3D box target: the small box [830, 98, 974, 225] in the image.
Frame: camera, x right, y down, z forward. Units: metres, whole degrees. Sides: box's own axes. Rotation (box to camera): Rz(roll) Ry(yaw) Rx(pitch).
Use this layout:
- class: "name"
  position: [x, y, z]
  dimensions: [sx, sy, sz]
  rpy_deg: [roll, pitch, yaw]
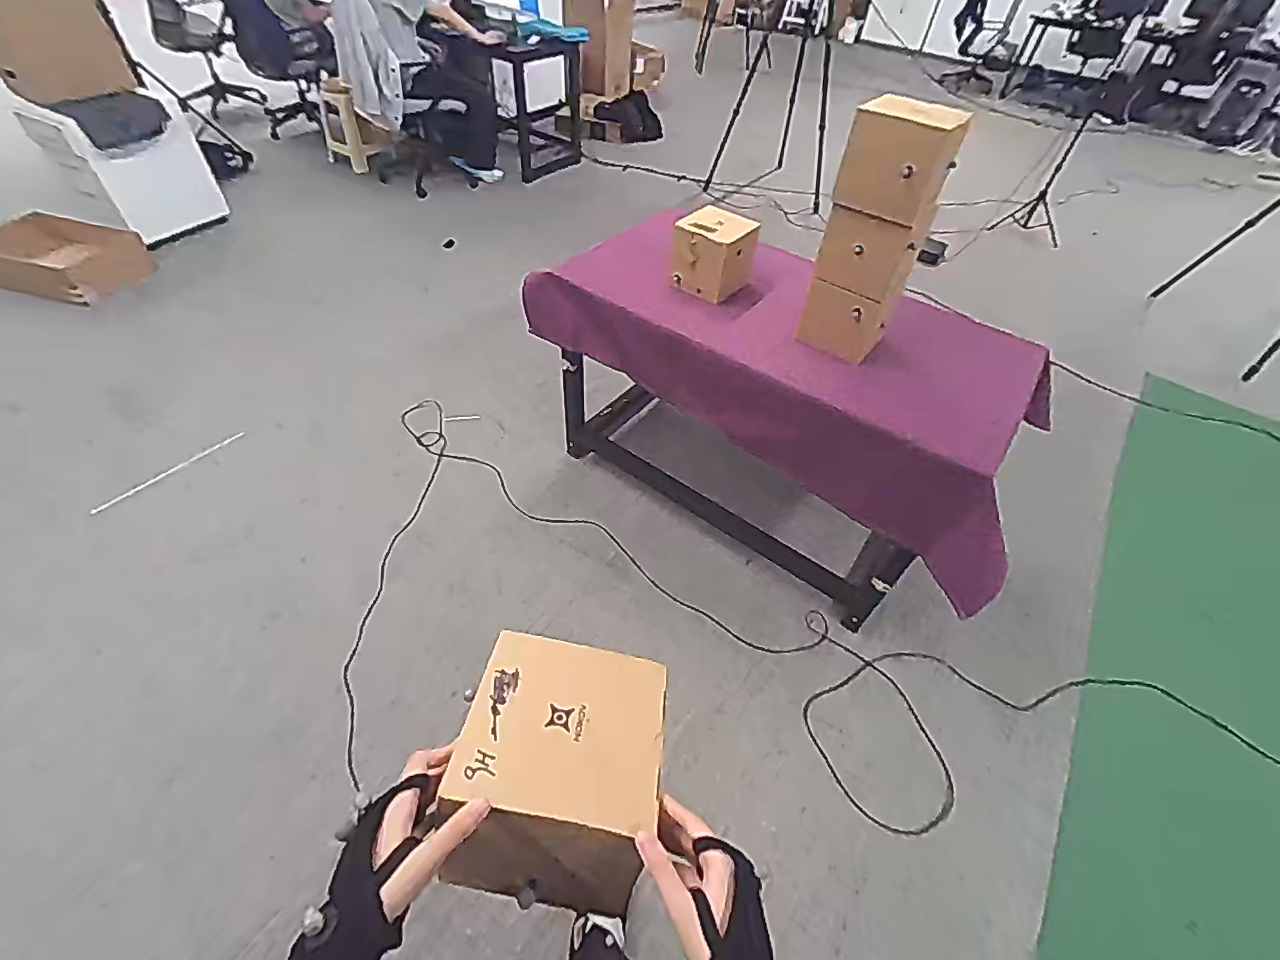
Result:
- class: "small box"
  position: [0.510, -0.626, 1.070]
  dimensions: [0.179, 0.176, 0.168]
  rpy_deg: [32, 53, 23]

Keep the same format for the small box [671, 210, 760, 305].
- class: "small box"
  position: [0.198, -0.599, 1.463]
  dimensions: [0.168, 0.176, 0.179]
  rpy_deg: [32, 53, 21]

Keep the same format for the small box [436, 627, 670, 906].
- class: "small box"
  position: [-0.081, 0.278, 0.527]
  dimensions: [0.179, 0.176, 0.168]
  rpy_deg: [15, 33, -2]

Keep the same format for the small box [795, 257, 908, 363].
- class: "small box"
  position: [0.508, -0.408, 1.315]
  dimensions: [0.179, 0.176, 0.168]
  rpy_deg: [33, 53, 22]
